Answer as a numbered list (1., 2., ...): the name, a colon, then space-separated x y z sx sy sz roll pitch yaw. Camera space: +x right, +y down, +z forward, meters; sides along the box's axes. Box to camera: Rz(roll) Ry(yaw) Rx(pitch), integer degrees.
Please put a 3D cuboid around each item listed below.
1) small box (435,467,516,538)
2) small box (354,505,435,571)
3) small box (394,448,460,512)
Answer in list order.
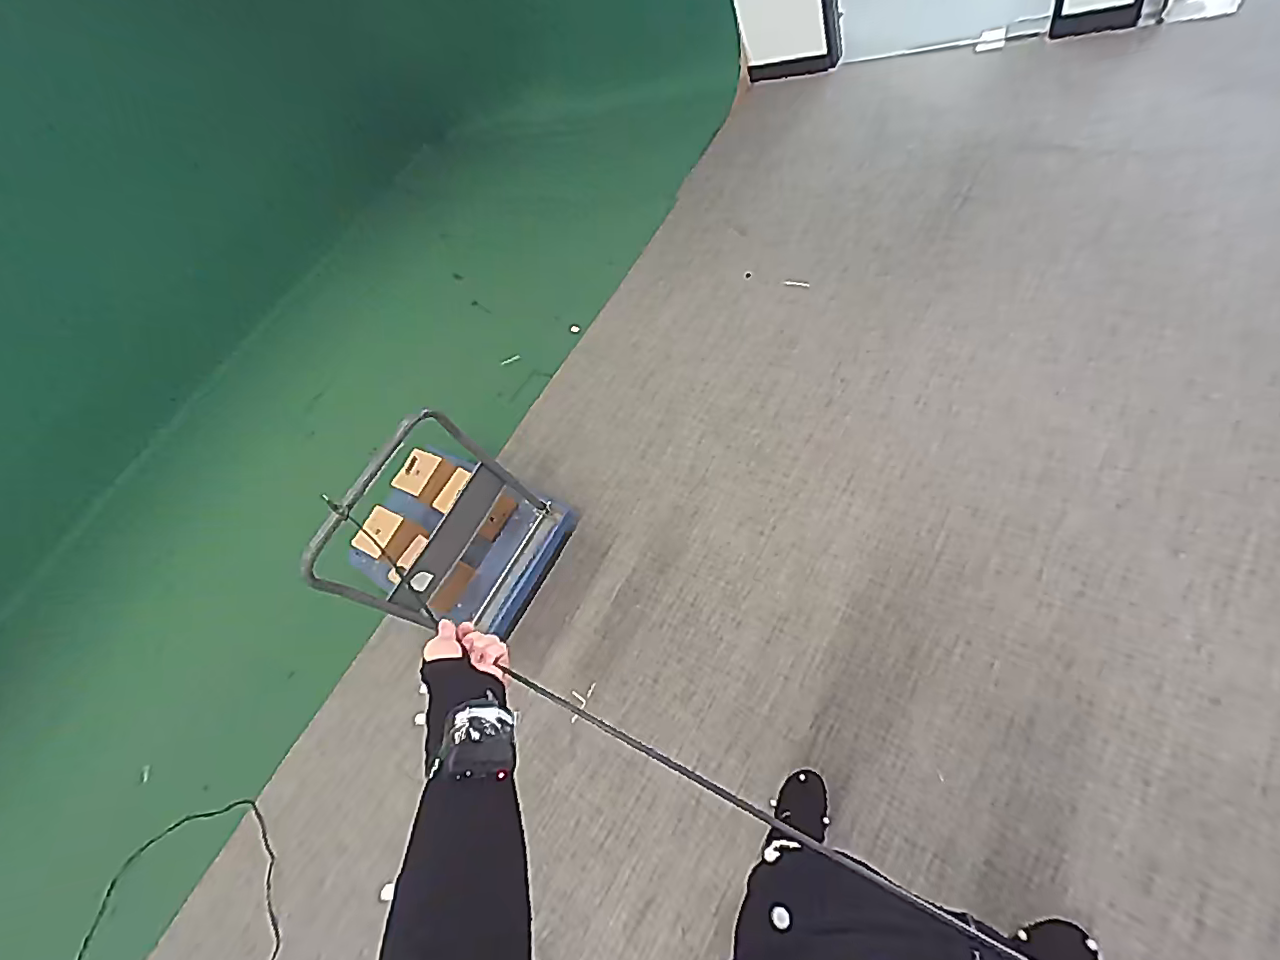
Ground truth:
1. small box: -0.577 0.084 1.910 0.179 0.176 0.168 22 73 34
2. small box: -0.897 0.218 1.989 0.179 0.176 0.168 17 69 33
3. small box: -0.786 0.004 2.062 0.179 0.176 0.168 17 71 32
